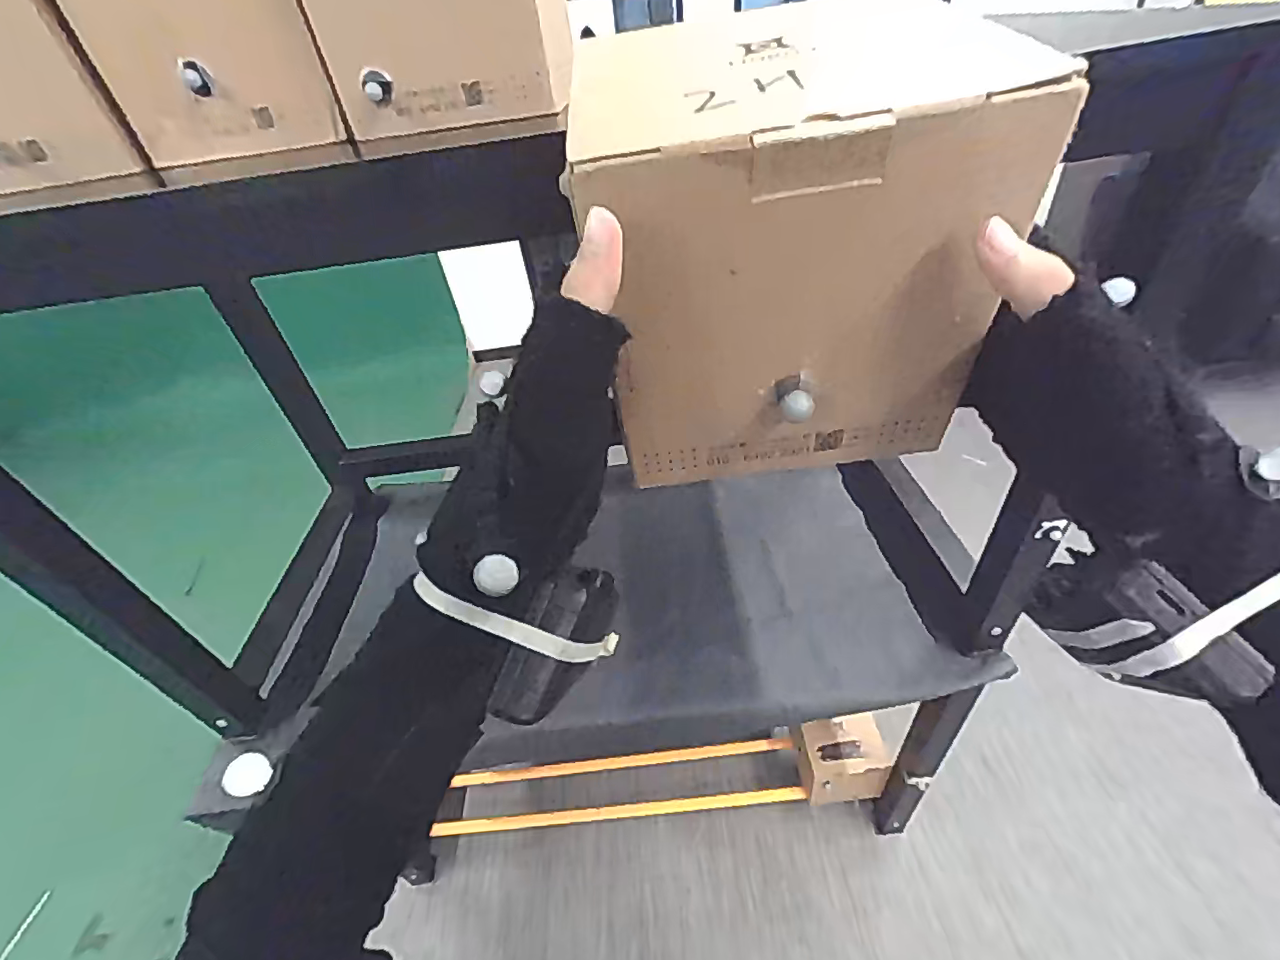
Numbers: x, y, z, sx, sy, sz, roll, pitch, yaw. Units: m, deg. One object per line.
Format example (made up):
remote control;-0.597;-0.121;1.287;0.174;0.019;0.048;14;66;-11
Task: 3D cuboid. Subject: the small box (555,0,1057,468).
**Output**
small box;0.059;-0.131;0.291;0.168;0.176;0.179;-8;48;4
